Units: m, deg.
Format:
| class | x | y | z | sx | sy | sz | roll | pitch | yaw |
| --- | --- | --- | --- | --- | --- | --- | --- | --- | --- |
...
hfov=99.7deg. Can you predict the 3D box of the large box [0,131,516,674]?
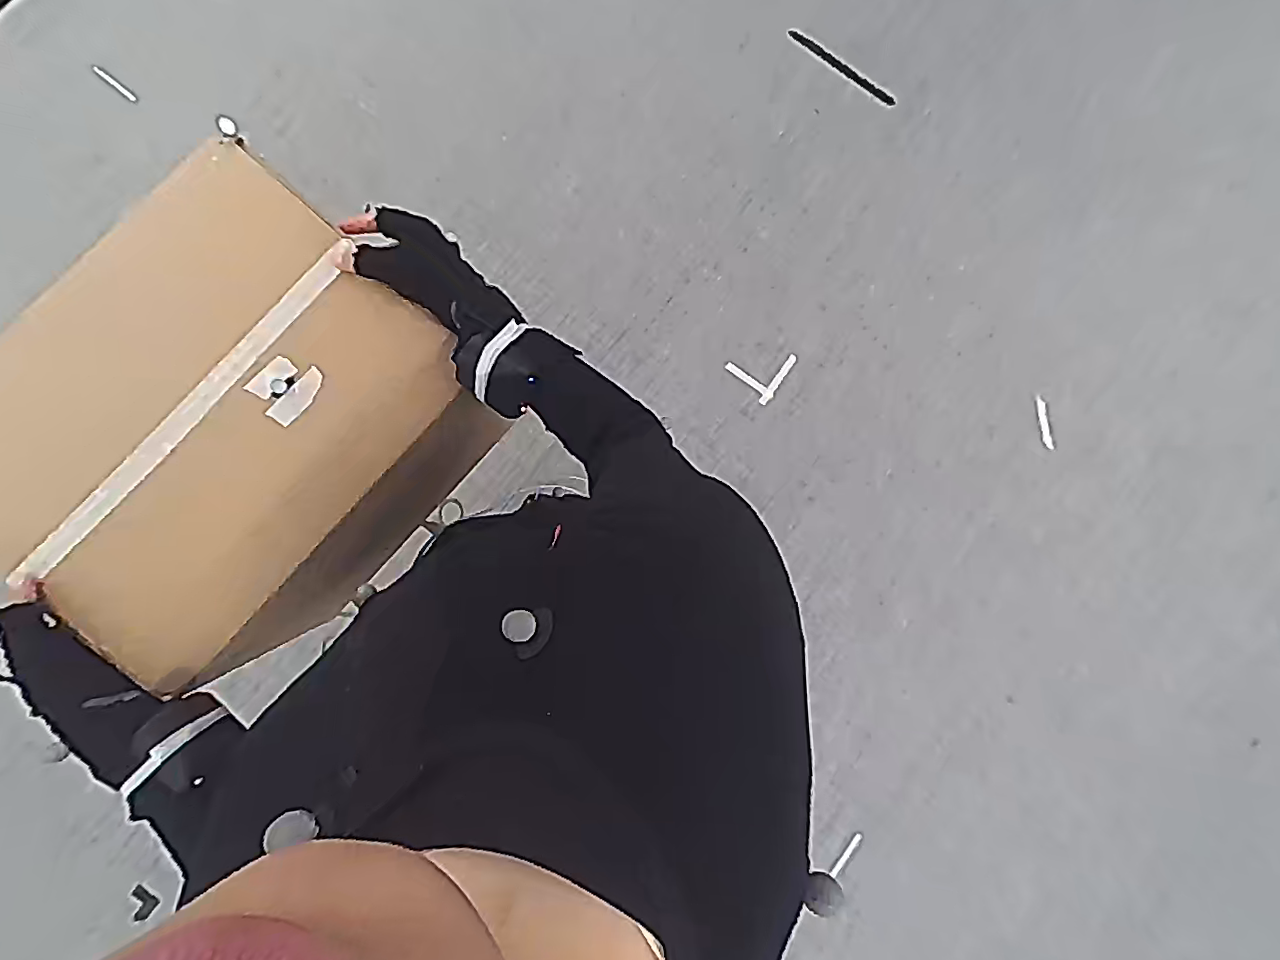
| class | x | y | z | sx | sy | sz | roll | pitch | yaw |
| --- | --- | --- | --- | --- | --- | --- | --- | --- | --- |
| large box | -0.403 | -0.067 | 0.631 | 0.320 | 0.320 | 0.408 | 41 | 84 | -5 |
